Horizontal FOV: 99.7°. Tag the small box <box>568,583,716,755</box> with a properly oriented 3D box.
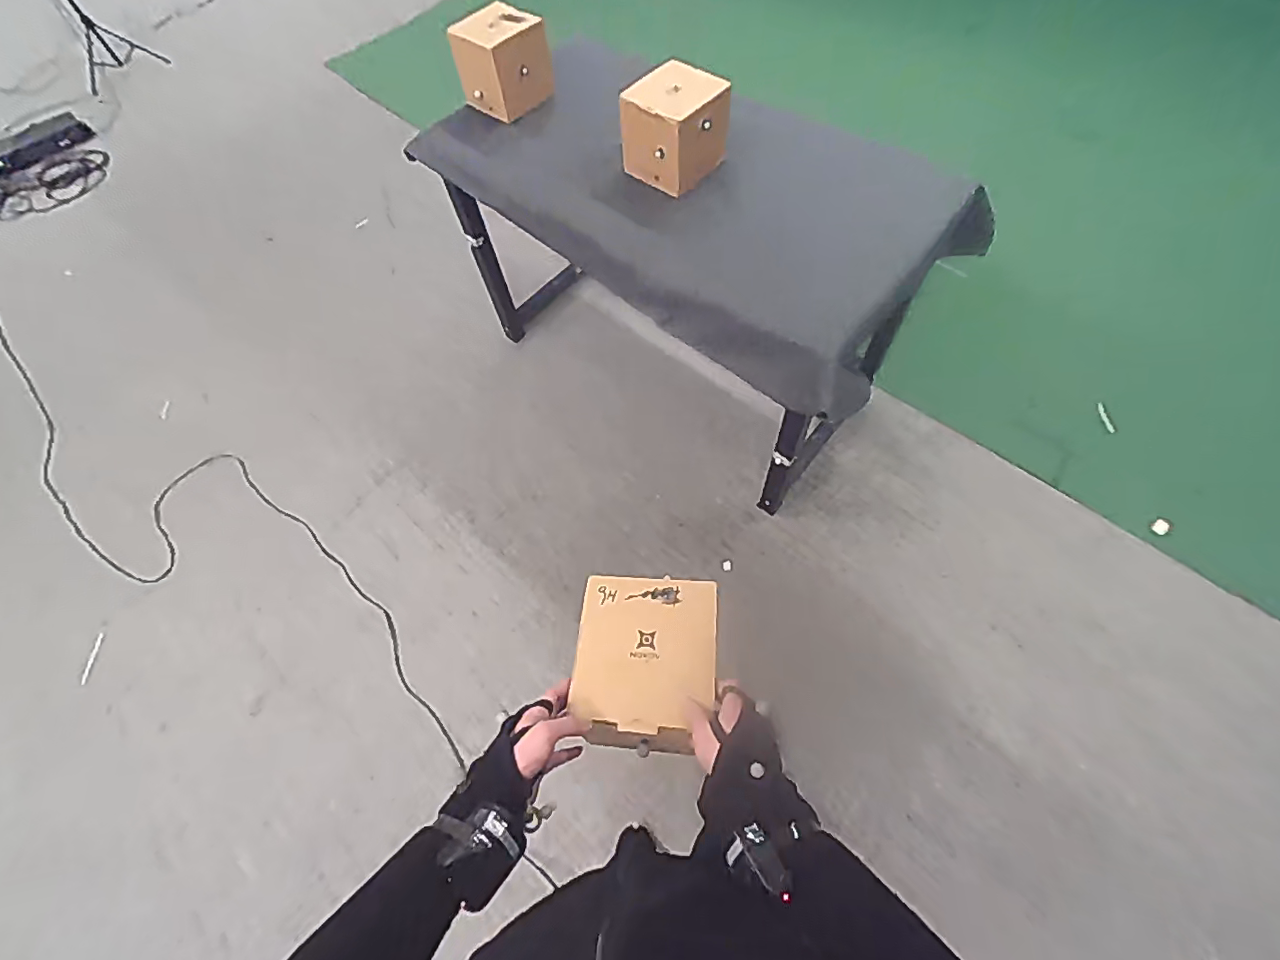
[{"bbox_3d":[0.015,0.251,0.706,0.168,0.176,0.179,1,57,7],"label":"small box"}]

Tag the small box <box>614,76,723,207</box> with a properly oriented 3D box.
[{"bbox_3d":[0.065,-0.749,1.205,0.168,0.176,0.179,37,69,19],"label":"small box"}]

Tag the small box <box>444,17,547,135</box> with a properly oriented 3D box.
[{"bbox_3d":[-0.356,-1.025,1.376,0.168,0.176,0.179,36,69,20],"label":"small box"}]
